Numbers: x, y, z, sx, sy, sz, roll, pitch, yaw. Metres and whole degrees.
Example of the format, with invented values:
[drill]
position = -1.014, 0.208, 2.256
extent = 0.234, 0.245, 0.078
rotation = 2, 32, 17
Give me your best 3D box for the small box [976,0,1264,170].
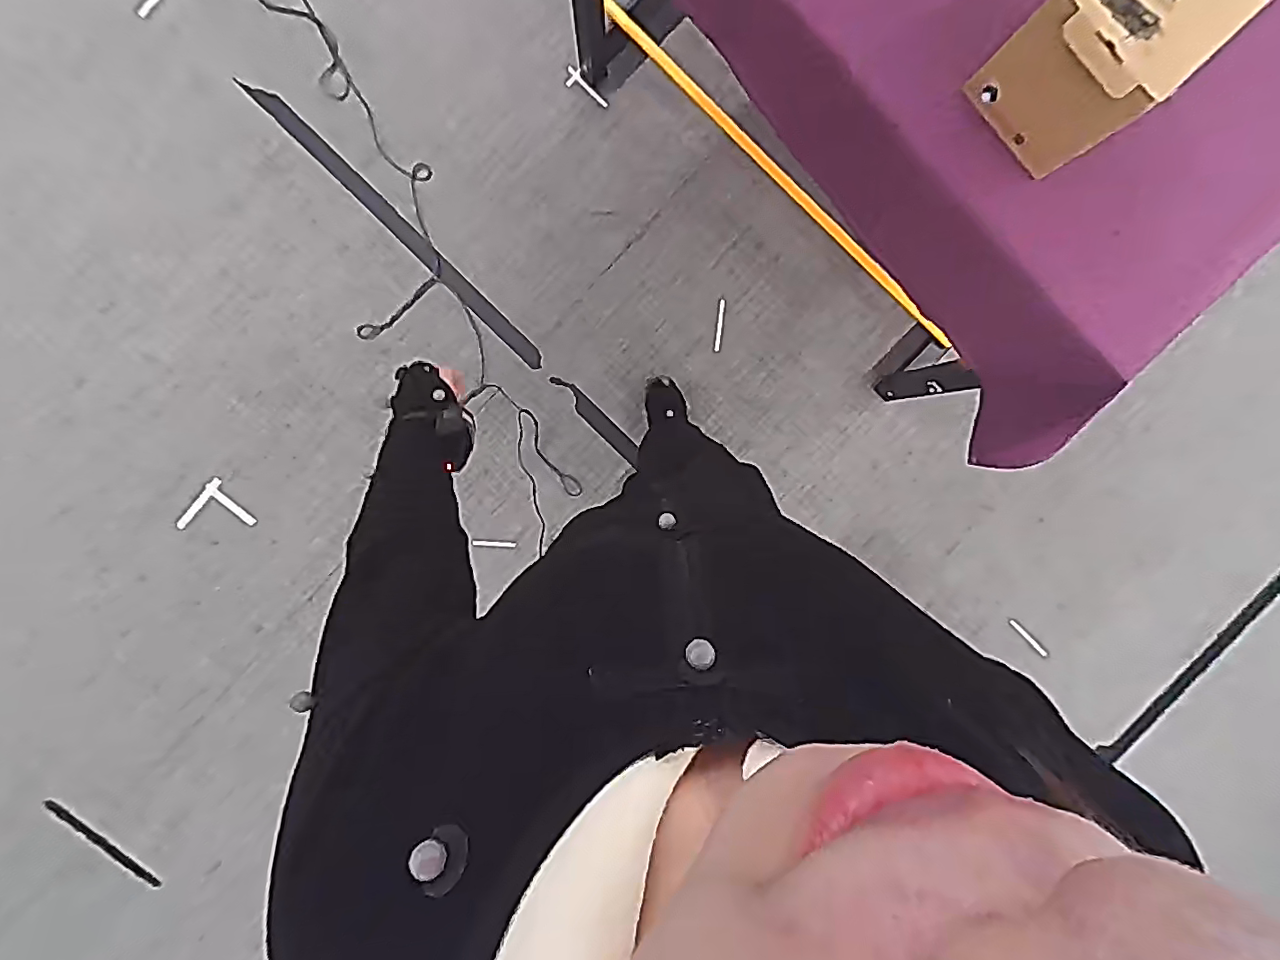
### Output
[small box]
position = 0.552, -0.525, 0.655
extent = 0.179, 0.176, 0.168
rotation = -43, 95, 0
